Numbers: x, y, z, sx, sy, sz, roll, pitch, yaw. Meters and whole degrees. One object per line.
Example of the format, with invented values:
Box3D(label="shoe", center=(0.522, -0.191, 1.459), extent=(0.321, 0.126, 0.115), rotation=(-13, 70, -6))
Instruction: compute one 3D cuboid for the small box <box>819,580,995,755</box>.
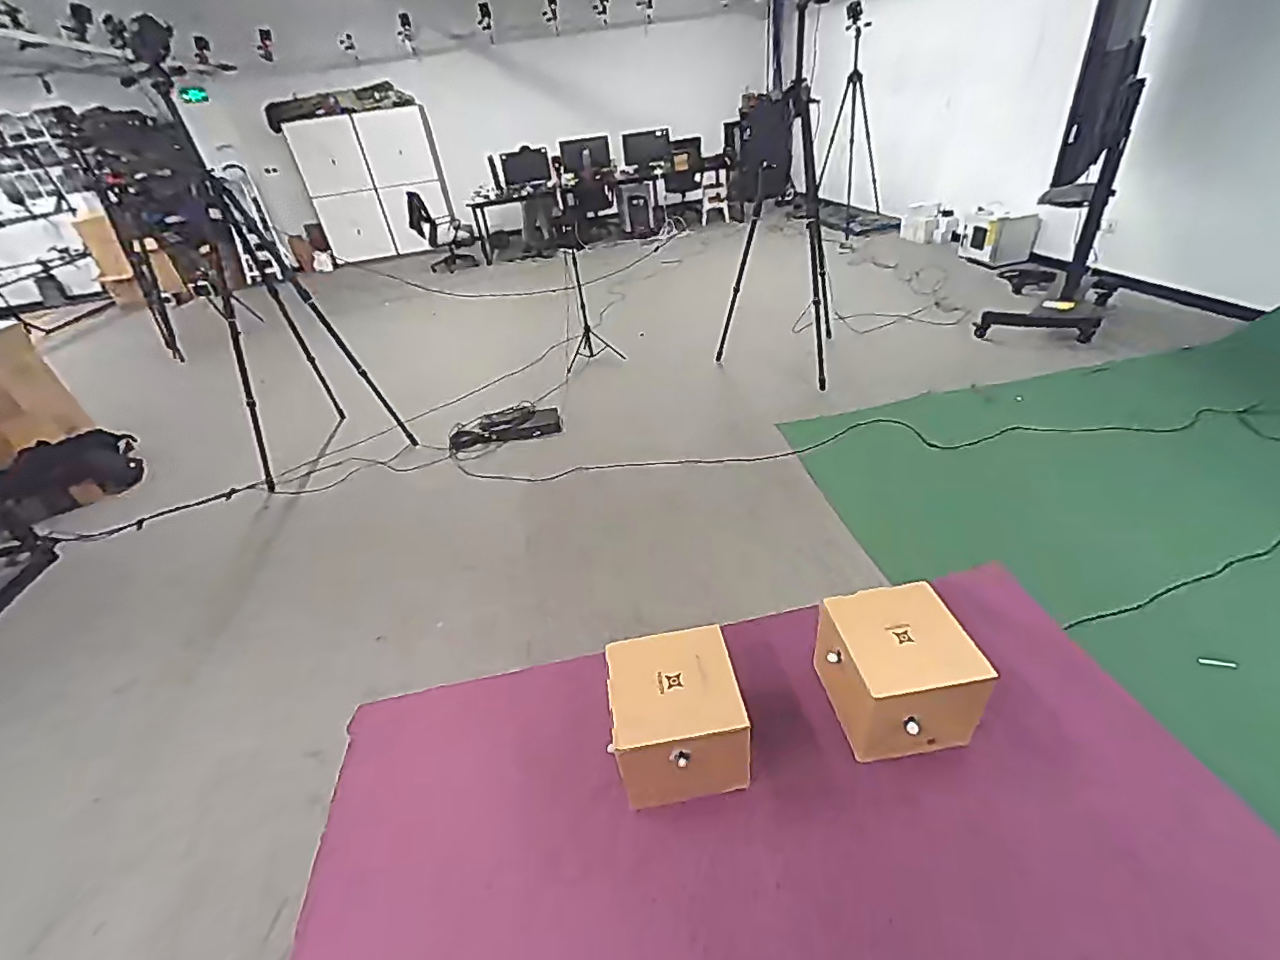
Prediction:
Box3D(label="small box", center=(0.377, 0.280, 0.798), extent=(0.168, 0.176, 0.179), rotation=(-10, 34, -1))

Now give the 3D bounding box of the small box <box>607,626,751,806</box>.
Box3D(label="small box", center=(0.055, 0.343, 0.784), extent=(0.179, 0.176, 0.168), rotation=(-10, 35, -1))
